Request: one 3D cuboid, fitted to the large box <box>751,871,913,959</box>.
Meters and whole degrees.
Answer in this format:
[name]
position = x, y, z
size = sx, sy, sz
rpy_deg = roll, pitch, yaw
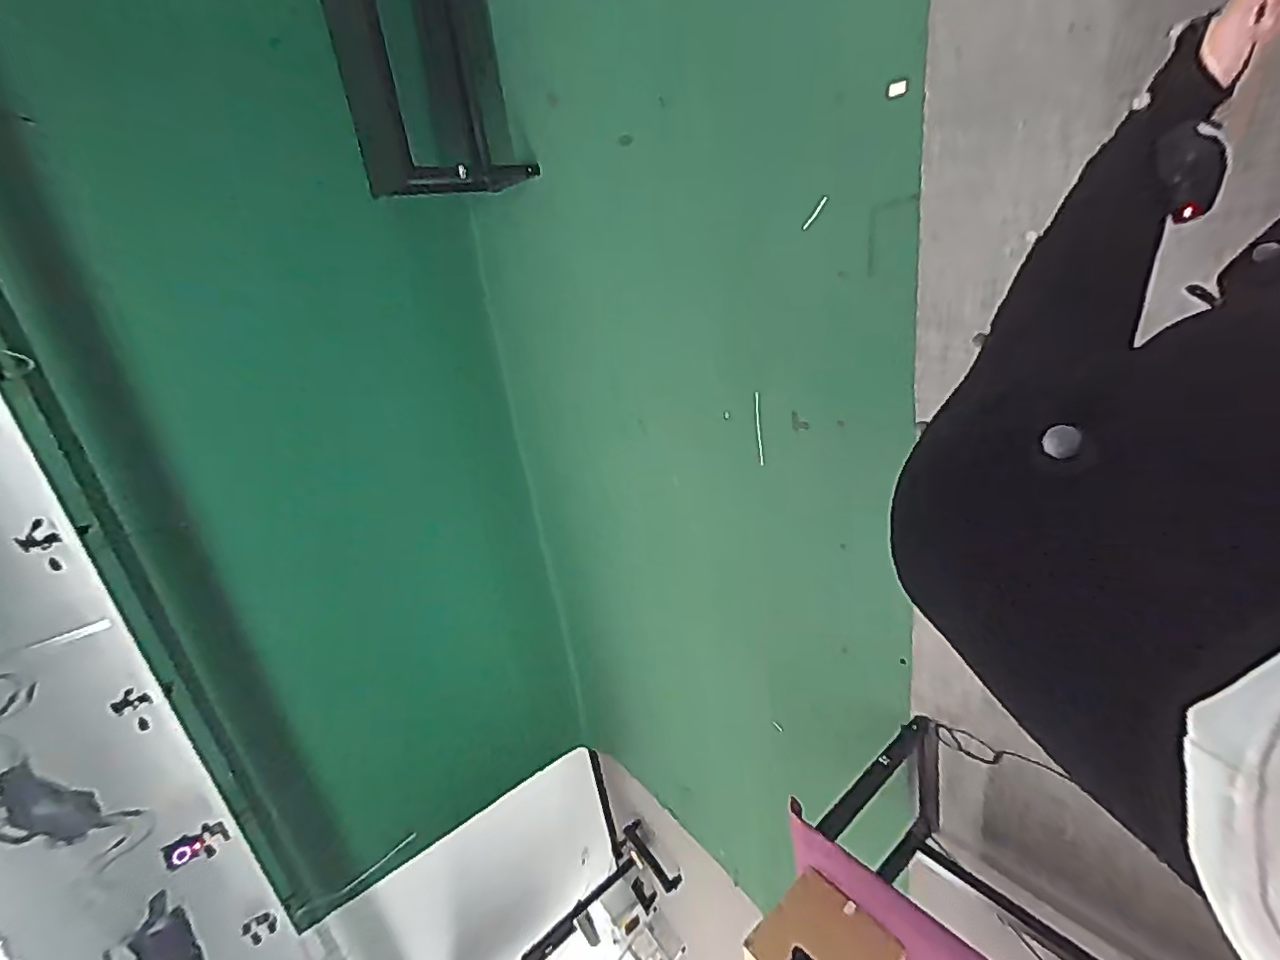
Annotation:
[large box]
position = 0.547, 1.447, 1.522
size = 0.320, 0.320, 0.408
rpy_deg = 15, 120, 50
